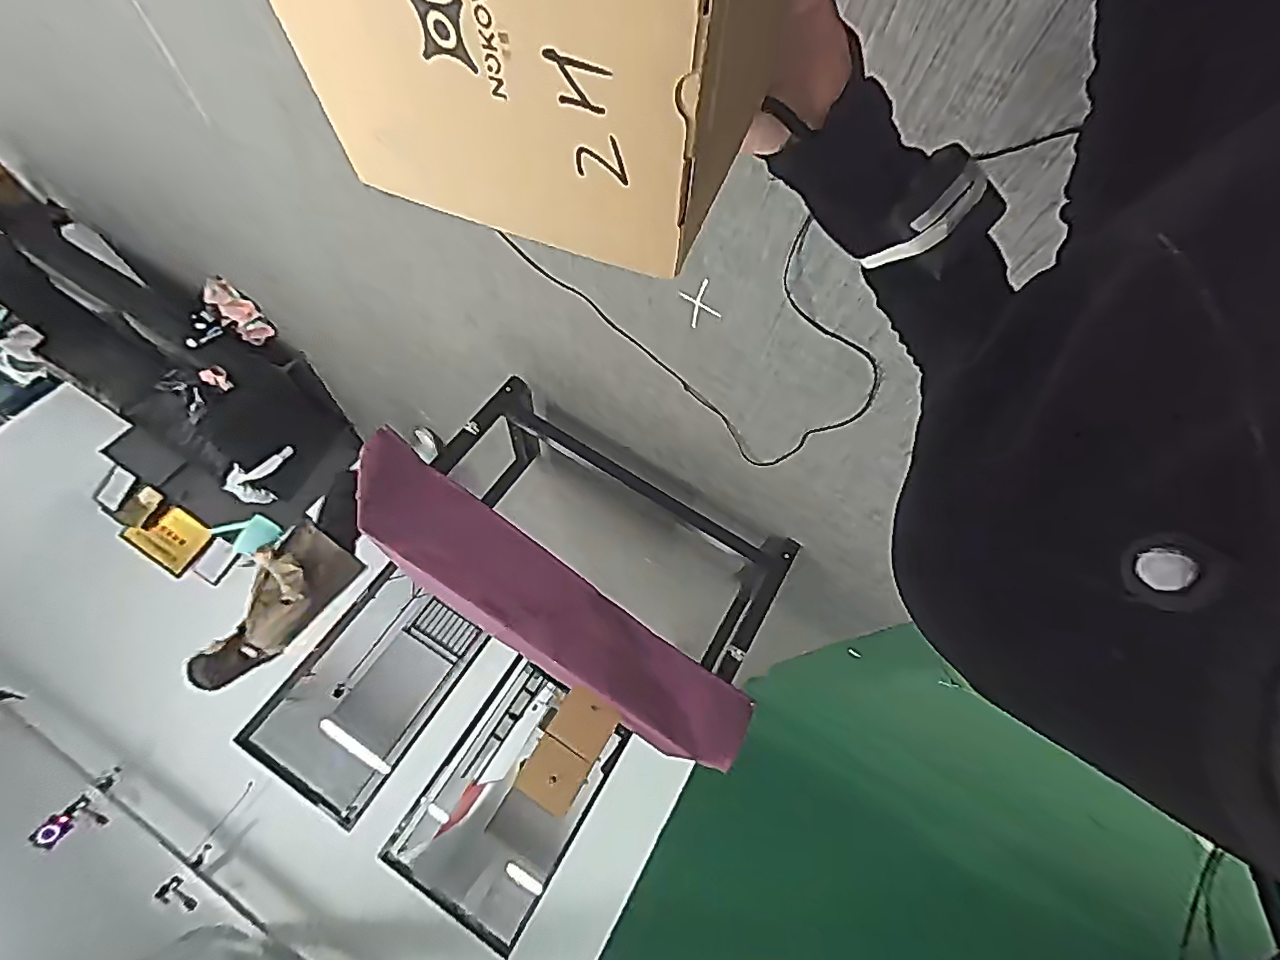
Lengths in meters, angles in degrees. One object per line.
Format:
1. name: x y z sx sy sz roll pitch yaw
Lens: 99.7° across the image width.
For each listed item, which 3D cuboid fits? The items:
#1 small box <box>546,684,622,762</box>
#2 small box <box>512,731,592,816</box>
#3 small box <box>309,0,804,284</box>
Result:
1. small box: -0.178 0.775 1.737 0.179 0.176 0.168 31 155 11
2. small box: -0.266 0.896 1.669 0.179 0.176 0.168 30 155 10
3. small box: -0.023 -0.228 0.237 0.179 0.176 0.168 21 158 7
